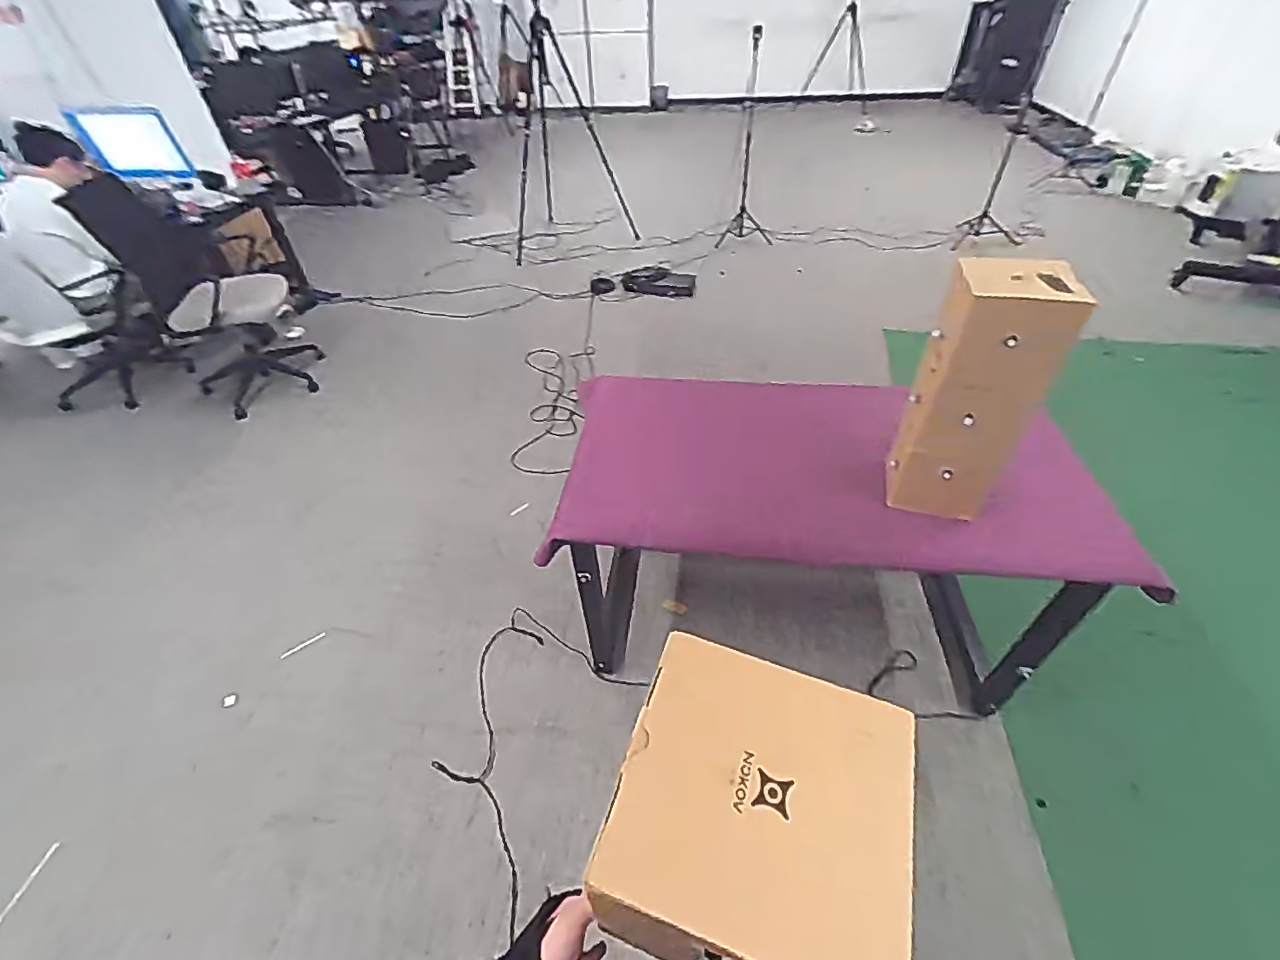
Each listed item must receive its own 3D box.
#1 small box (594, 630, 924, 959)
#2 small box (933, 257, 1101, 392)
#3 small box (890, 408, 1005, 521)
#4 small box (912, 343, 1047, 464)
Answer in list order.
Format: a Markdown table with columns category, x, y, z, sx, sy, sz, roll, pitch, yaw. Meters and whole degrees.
| category | x | y | z | sx | sy | sz | roll | pitch | yaw |
| --- | --- | --- | --- | --- | --- | --- | --- | --- | --- |
| small box | 0.081 | 0.242 | 0.392 | 0.179 | 0.176 | 0.168 | 15 | 49 | 13 |
| small box | 0.643 | -0.271 | 0.949 | 0.179 | 0.176 | 0.168 | 8 | 45 | 12 |
| small box | 0.654 | -0.032 | 1.174 | 0.179 | 0.176 | 0.168 | 12 | 46 | 15 |
| small box | 0.648 | -0.150 | 1.061 | 0.179 | 0.176 | 0.168 | 8 | 45 | 13 |
